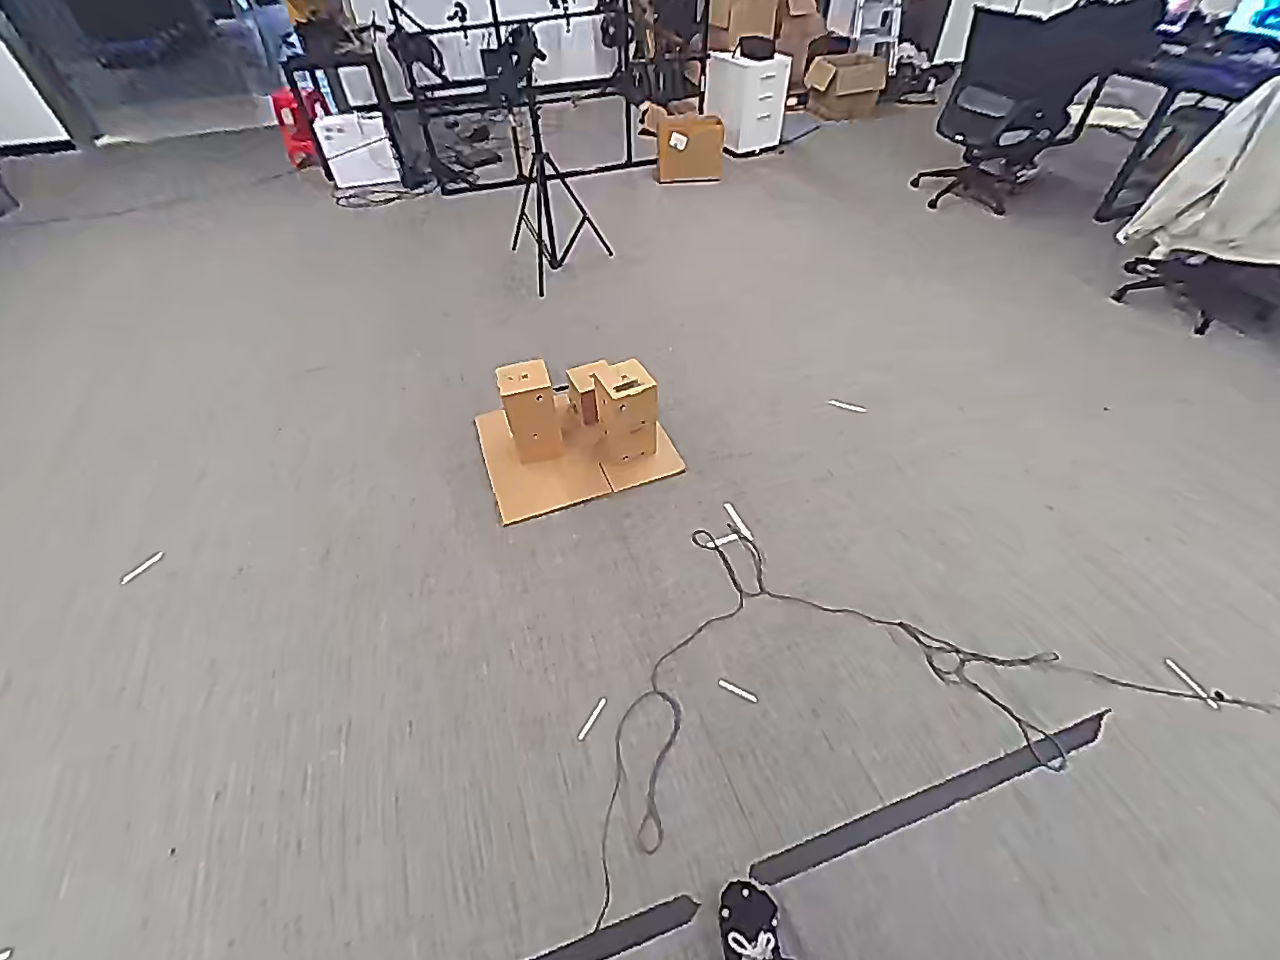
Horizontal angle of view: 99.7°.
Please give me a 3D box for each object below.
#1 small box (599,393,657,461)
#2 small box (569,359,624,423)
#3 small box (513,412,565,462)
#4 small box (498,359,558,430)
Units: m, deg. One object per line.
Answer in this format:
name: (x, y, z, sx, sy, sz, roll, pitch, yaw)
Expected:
small box: (-0.043, -0.193, 2.037, 0.168, 0.176, 0.179, -20, 50, -16)
small box: (-0.175, -0.358, 2.191, 0.179, 0.176, 0.168, -20, 49, -15)
small box: (-0.388, -0.193, 2.047, 0.179, 0.176, 0.168, -15, 49, -10)
small box: (-0.394, -0.303, 1.925, 0.179, 0.176, 0.168, -14, 49, -9)
